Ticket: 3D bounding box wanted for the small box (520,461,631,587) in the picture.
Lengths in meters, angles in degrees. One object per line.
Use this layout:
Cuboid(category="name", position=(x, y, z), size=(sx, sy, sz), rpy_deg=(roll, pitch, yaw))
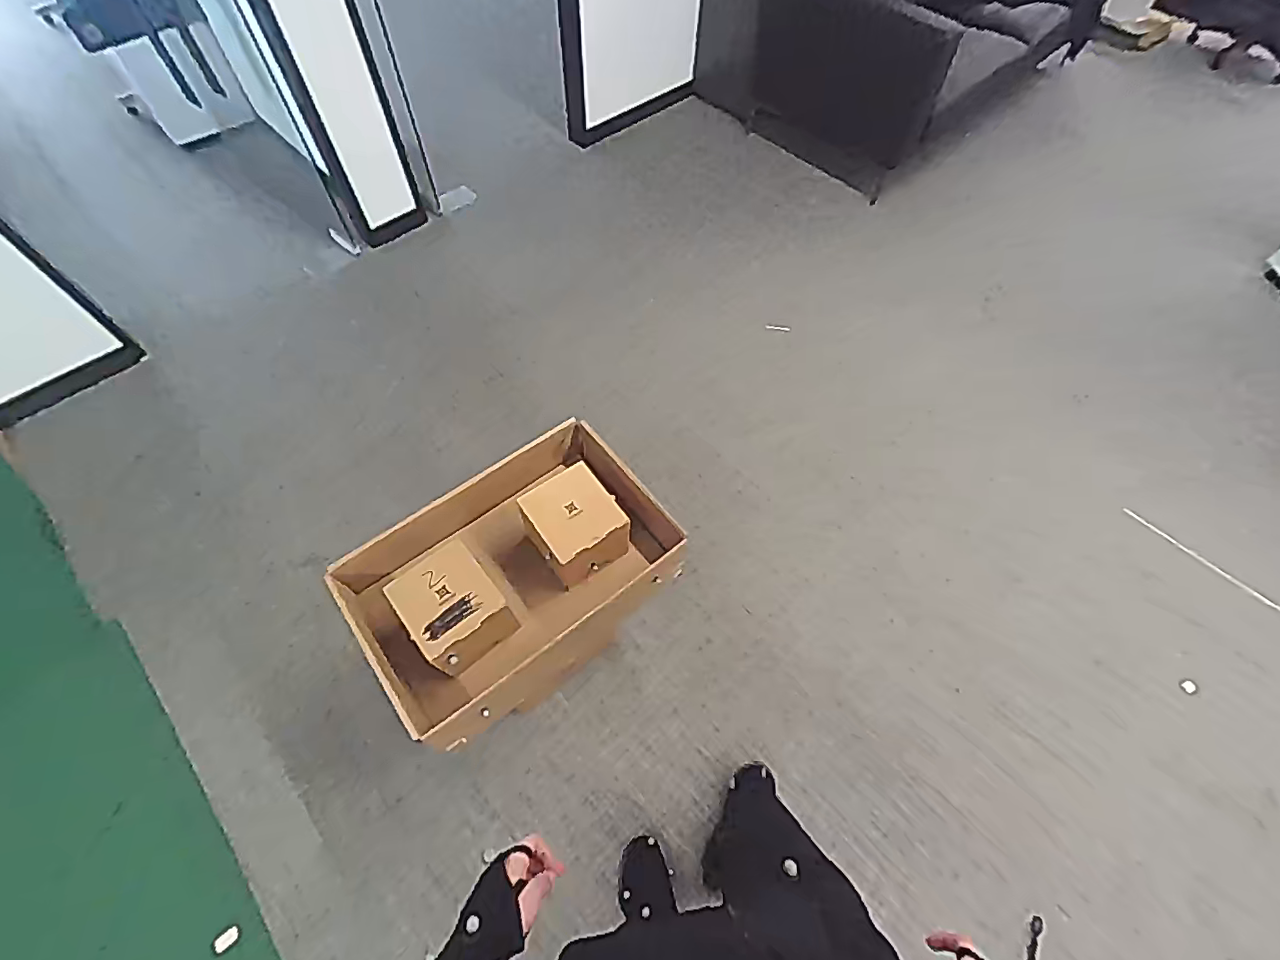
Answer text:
Cuboid(category="small box", position=(-0.137, 0.099, 1.162), size=(0.168, 0.176, 0.179), rpy_deg=(-32, 67, -19))
